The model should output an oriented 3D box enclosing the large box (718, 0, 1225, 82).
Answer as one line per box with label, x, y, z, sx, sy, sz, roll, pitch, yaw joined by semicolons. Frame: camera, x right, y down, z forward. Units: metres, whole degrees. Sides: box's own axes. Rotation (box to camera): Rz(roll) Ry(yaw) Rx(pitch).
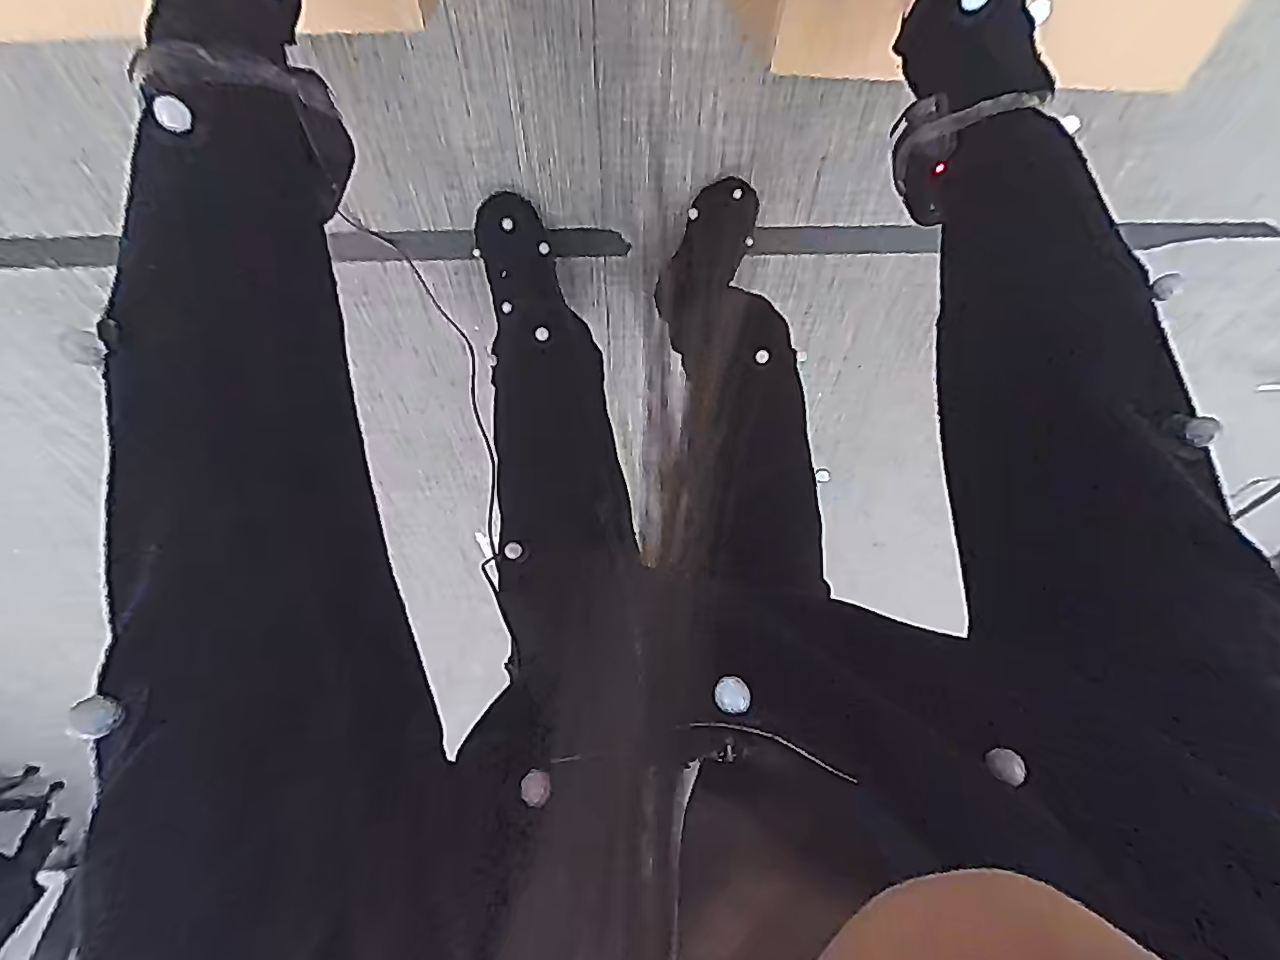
large box;0.308;-0.589;0.481;0.408;0.320;0.320;-2;141;-6
